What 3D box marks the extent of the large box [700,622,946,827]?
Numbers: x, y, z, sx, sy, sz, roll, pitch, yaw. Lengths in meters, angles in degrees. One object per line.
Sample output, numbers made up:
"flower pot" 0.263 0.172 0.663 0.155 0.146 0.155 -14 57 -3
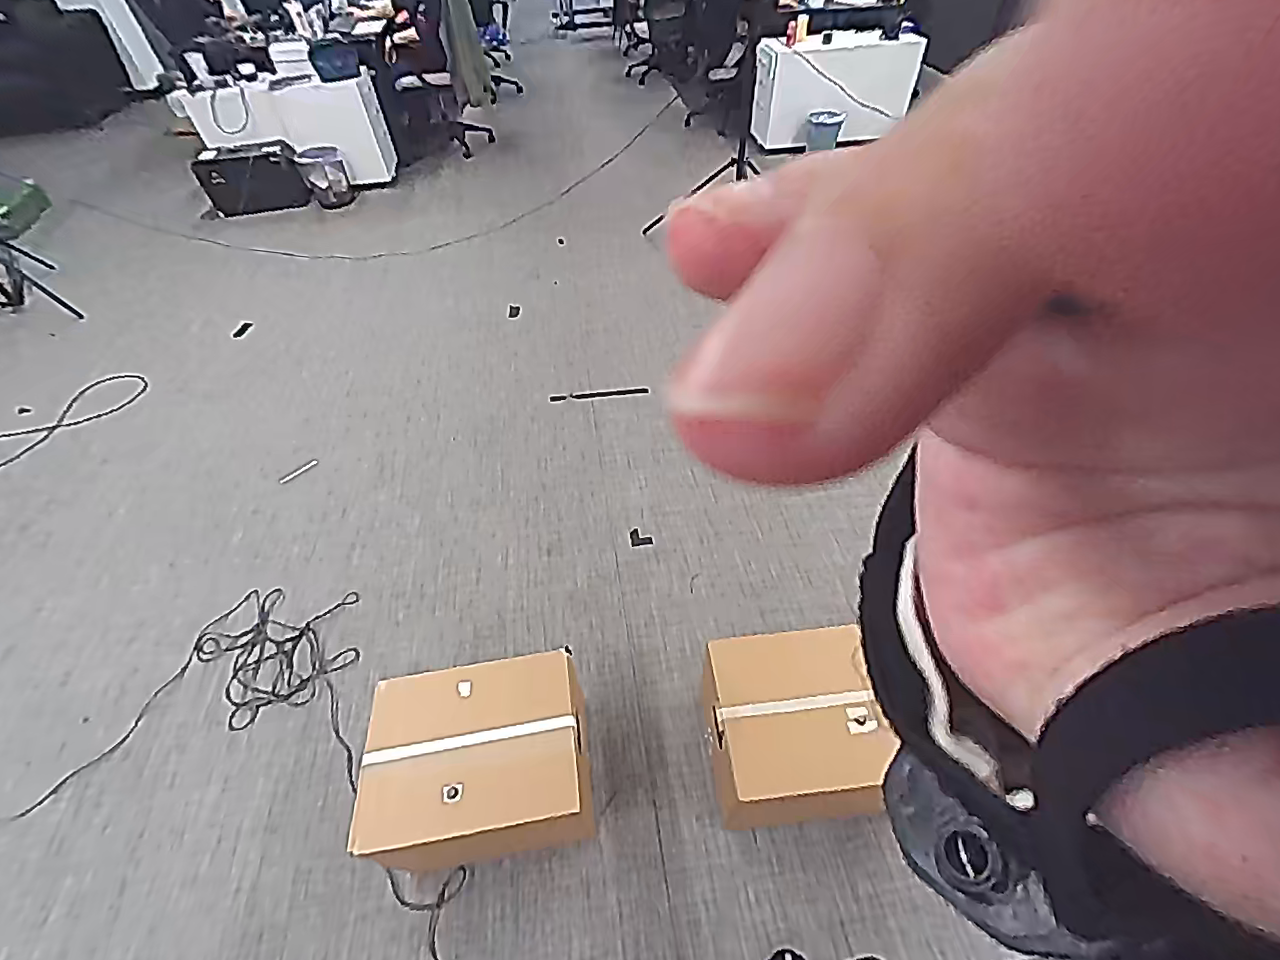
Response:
"large box" 0.366 0.548 1.209 0.408 0.320 0.320 -5 49 -3
